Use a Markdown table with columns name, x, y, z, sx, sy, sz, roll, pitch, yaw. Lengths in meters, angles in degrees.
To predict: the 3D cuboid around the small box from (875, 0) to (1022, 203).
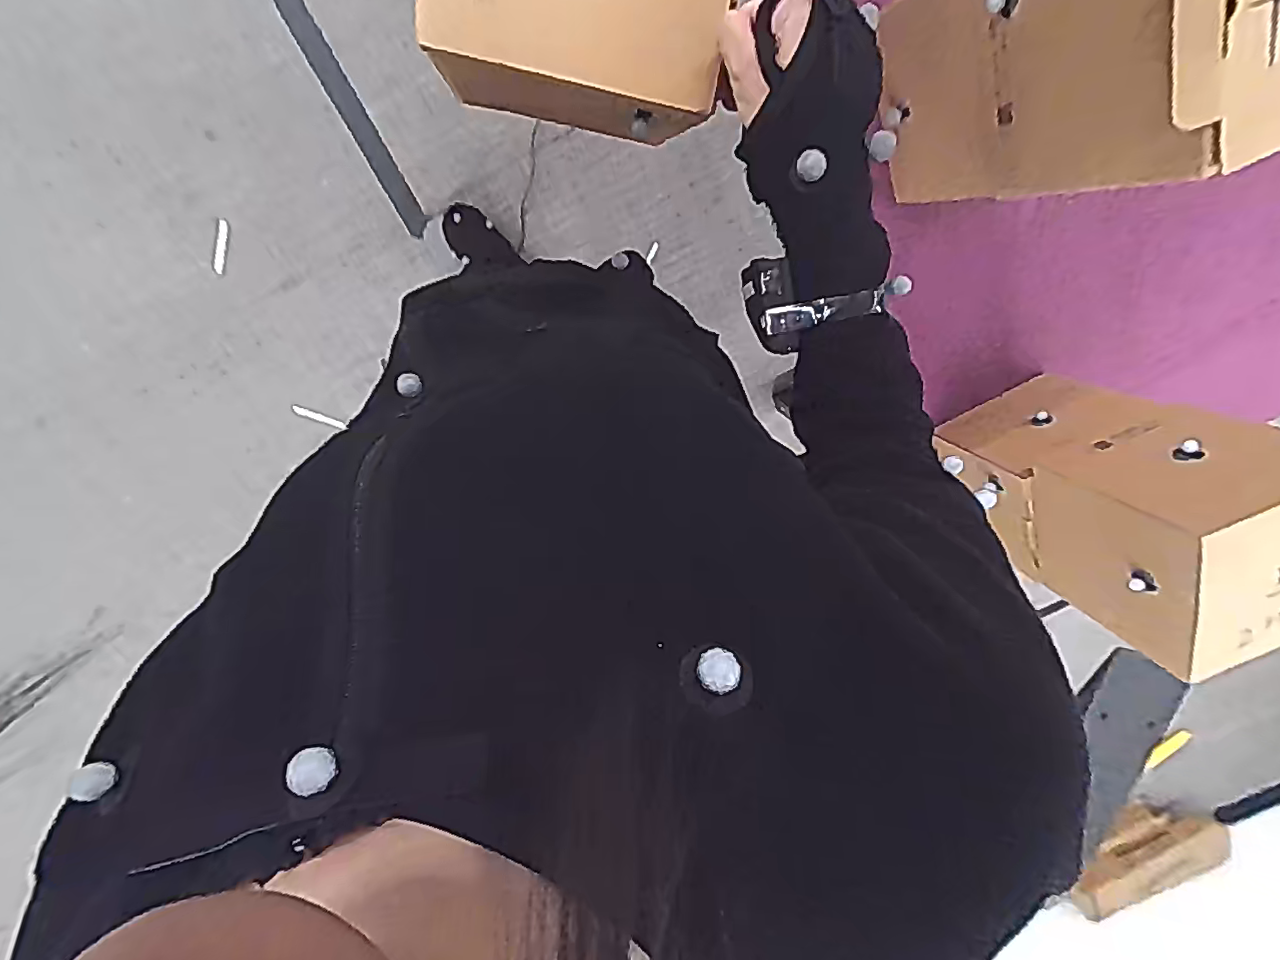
| name | x | y | z | sx | sy | sz | roll | pitch | yaw |
| --- | --- | --- | --- | --- | --- | --- | --- | --- | --- |
| small box | 0.343 | -0.374 | 0.490 | 0.168 | 0.176 | 0.179 | -24 | 116 | 2 |

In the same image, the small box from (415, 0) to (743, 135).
| name | x | y | z | sx | sy | sz | roll | pitch | yaw |
| --- | --- | --- | --- | --- | --- | --- | --- | --- | --- |
| small box | -0.035 | -0.337 | 0.343 | 0.179 | 0.176 | 0.168 | 4 | 115 | -15 |

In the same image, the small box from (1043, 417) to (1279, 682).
| name | x | y | z | sx | sy | sz | roll | pitch | yaw |
| --- | --- | --- | --- | --- | --- | --- | --- | --- | --- |
| small box | 0.538 | 0.053 | 0.532 | 0.168 | 0.176 | 0.179 | -23 | 115 | 1 |
